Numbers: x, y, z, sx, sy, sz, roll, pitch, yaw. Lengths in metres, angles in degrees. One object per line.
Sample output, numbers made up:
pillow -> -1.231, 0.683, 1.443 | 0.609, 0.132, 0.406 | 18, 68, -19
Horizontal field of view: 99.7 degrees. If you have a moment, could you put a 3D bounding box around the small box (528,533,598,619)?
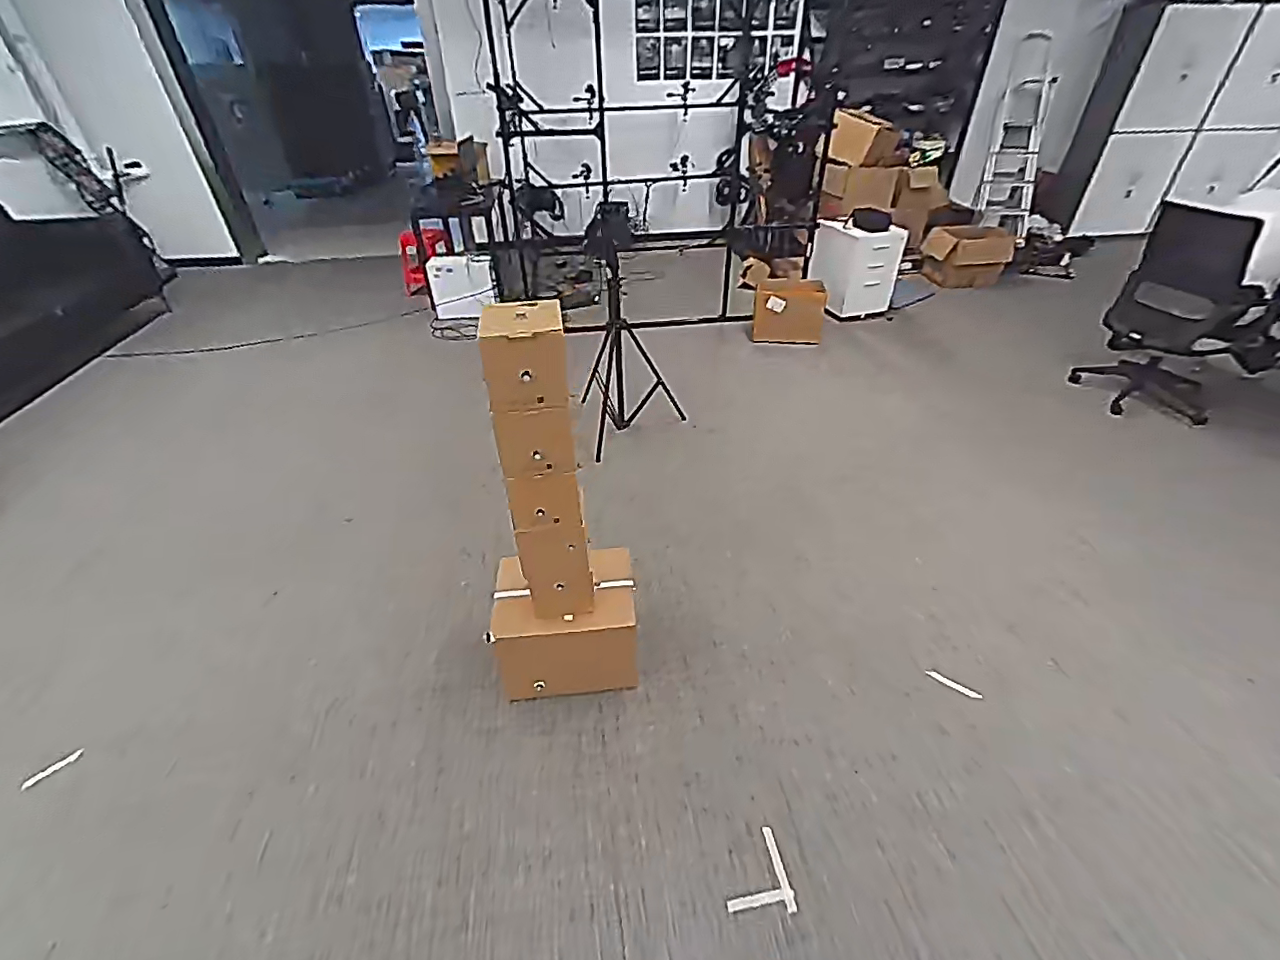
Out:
small box -> -0.216, 0.275, 1.530 | 0.179, 0.176, 0.168 | -5, 39, -7

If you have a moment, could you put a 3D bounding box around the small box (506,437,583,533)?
small box -> -0.232, 0.010, 1.339 | 0.168, 0.176, 0.179 | -6, 39, -6

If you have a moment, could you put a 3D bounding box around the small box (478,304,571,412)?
small box -> -0.239, -0.255, 1.145 | 0.168, 0.176, 0.179 | -7, 39, -7

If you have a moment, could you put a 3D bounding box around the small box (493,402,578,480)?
small box -> -0.236, -0.122, 1.241 | 0.168, 0.176, 0.179 | -7, 39, -6
